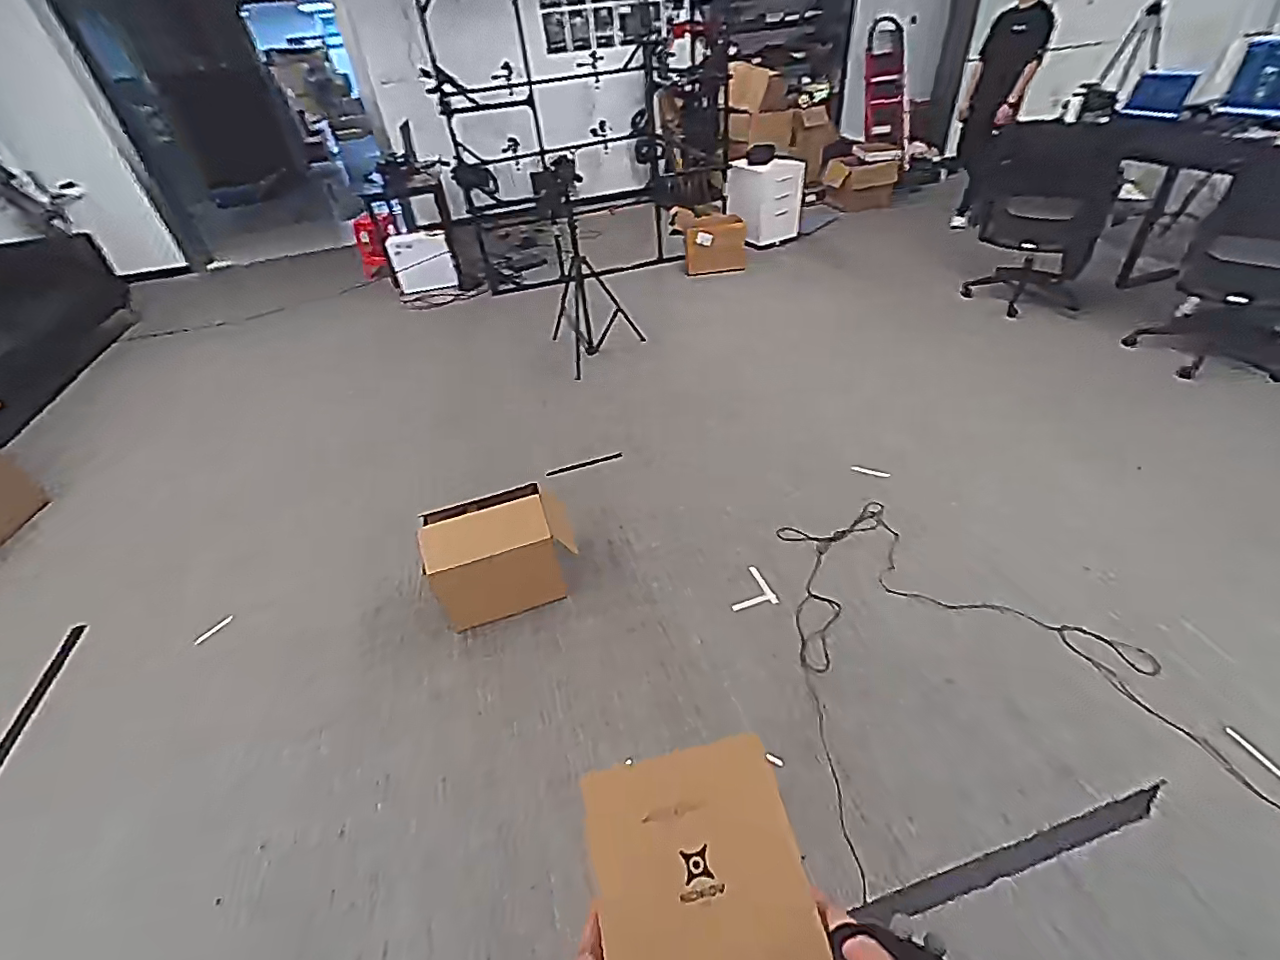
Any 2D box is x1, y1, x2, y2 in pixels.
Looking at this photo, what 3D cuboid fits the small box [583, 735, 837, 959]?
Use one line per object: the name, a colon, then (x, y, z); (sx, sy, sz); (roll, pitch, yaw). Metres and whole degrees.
small box: (0.050, 0.355, 0.481); (0.168, 0.176, 0.179); (-11, 51, -7)
